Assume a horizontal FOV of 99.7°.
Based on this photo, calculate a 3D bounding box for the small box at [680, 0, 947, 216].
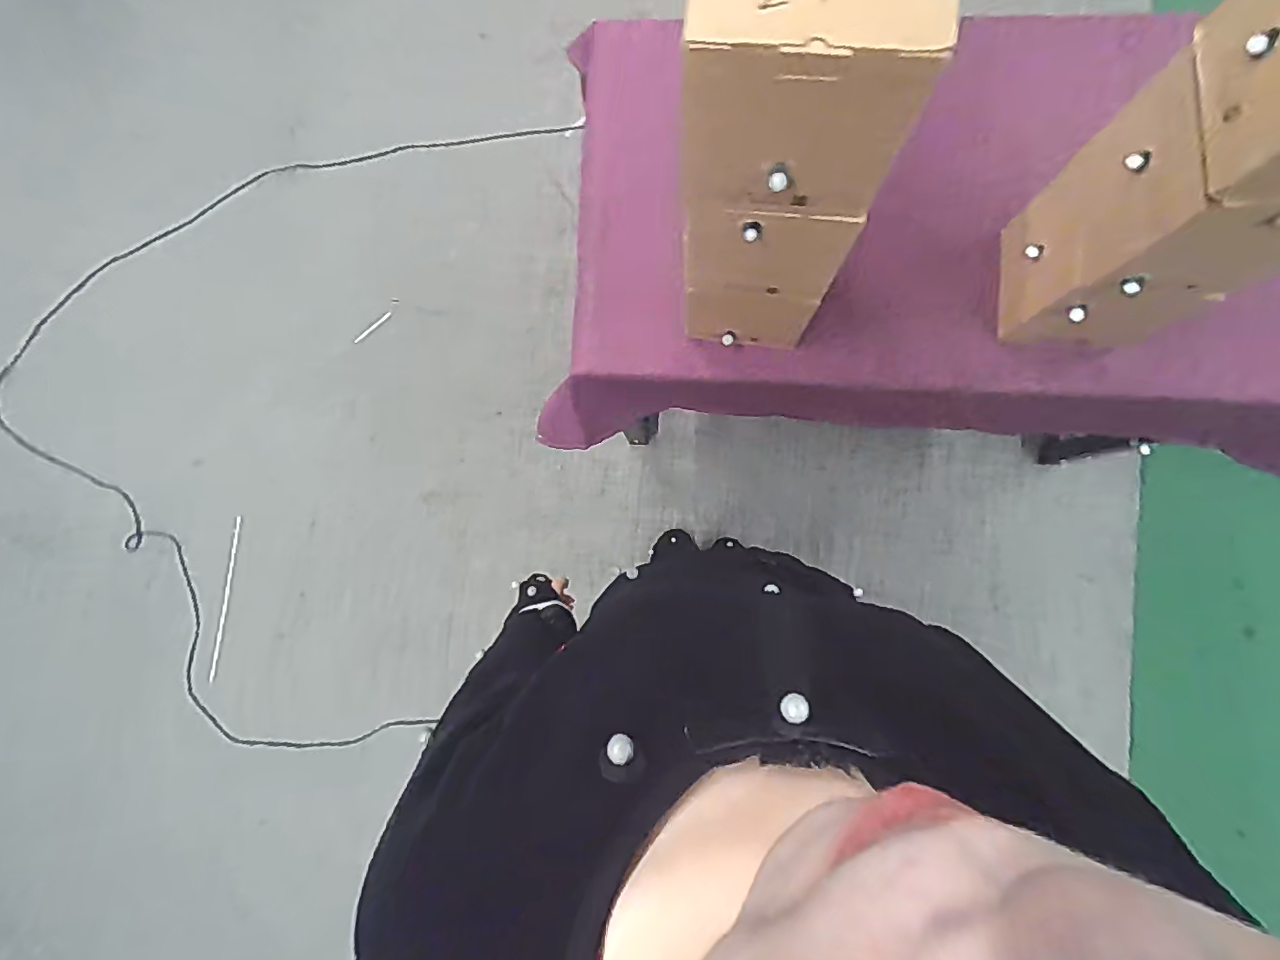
[{"bbox_3d":[0.122,-0.343,0.426,0.168,0.176,0.179,6,84,6],"label":"small box"}]

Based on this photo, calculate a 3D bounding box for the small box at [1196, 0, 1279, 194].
[{"bbox_3d":[0.574,-0.332,0.389,0.179,0.176,0.168,1,83,6],"label":"small box"}]

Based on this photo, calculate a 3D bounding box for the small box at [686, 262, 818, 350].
[{"bbox_3d":[0.156,-0.301,0.751,0.168,0.176,0.179,8,85,6],"label":"small box"}]

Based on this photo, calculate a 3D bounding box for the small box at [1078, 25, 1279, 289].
[{"bbox_3d":[0.591,-0.311,0.550,0.168,0.176,0.179,3,82,5],"label":"small box"}]

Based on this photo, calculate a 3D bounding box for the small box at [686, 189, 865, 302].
[{"bbox_3d":[0.142,-0.319,0.588,0.168,0.176,0.179,8,83,7],"label":"small box"}]
